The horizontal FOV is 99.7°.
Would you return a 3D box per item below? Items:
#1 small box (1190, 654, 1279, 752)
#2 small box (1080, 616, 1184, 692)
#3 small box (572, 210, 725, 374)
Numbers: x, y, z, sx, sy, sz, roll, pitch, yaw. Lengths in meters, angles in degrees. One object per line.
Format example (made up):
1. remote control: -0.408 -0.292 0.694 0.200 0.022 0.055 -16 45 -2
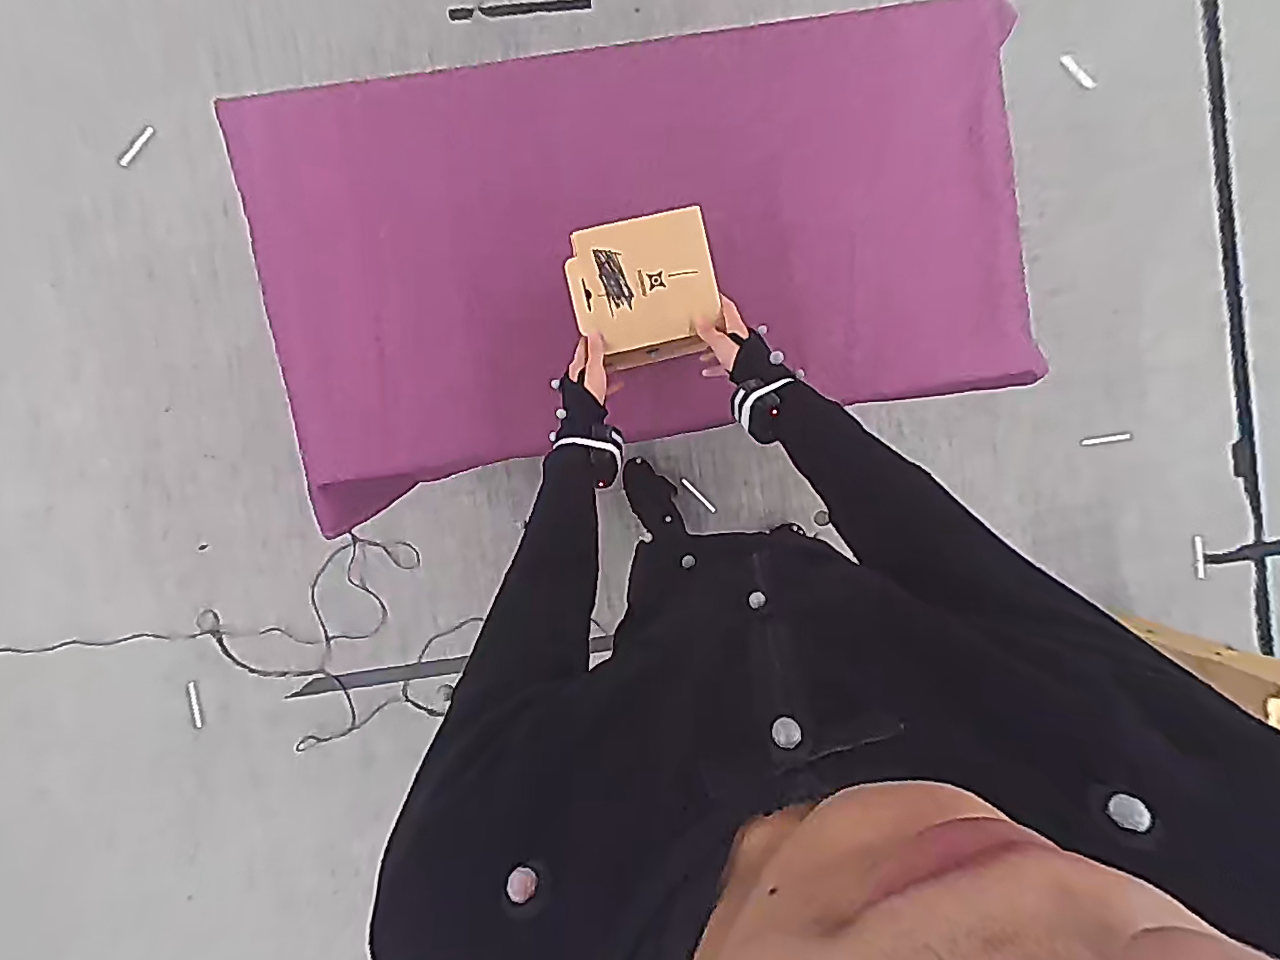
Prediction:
1. small box: 1.505 0.531 1.306 0.179 0.176 0.168 1 94 -2
2. small box: 1.478 0.522 1.635 0.179 0.176 0.168 -5 94 -2
3. small box: 0.008 -0.261 0.790 0.179 0.176 0.168 -14 94 -4
